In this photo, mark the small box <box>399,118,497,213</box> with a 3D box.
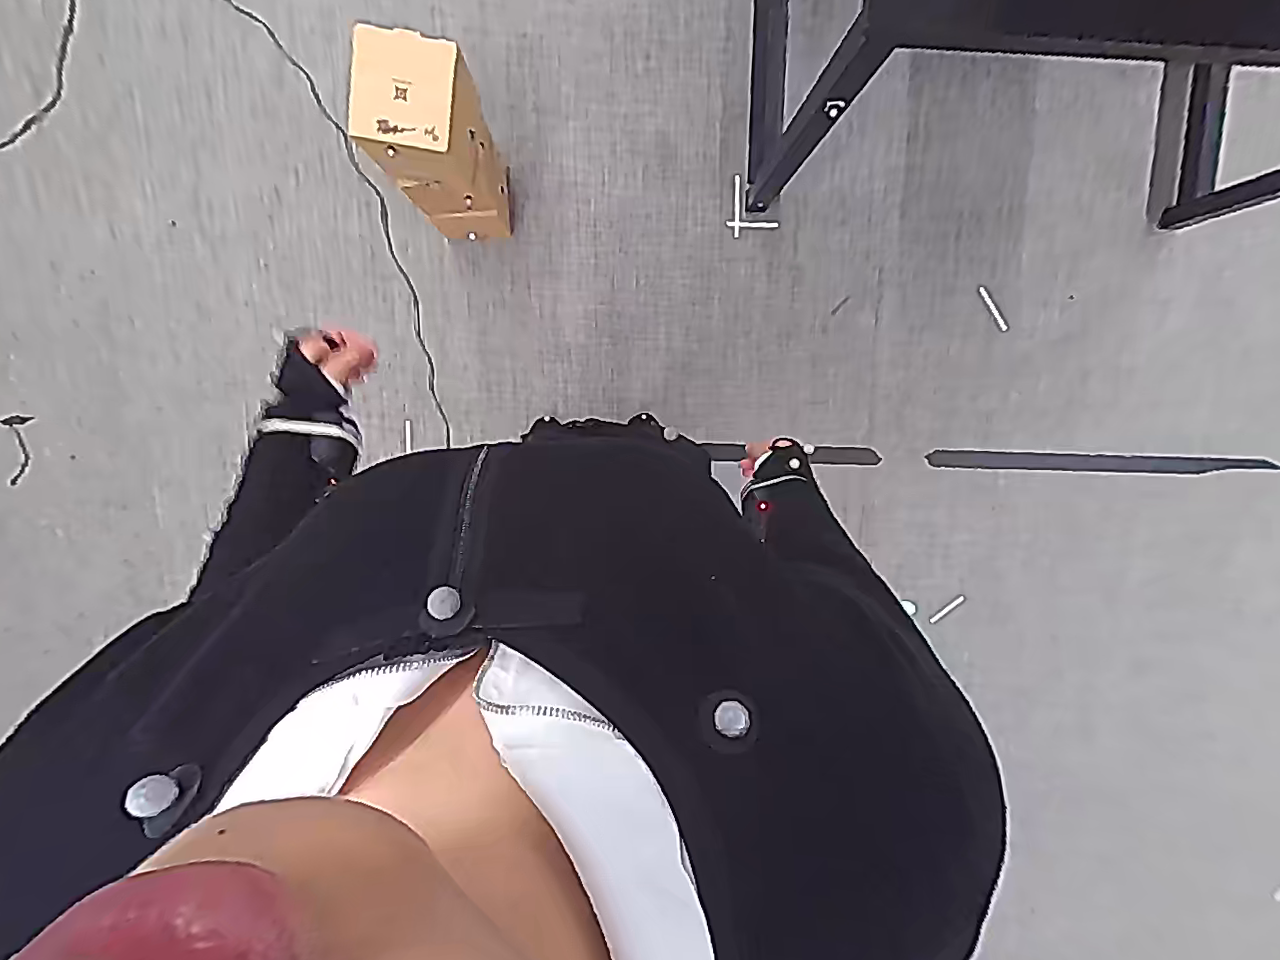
[{"bbox_3d":[-0.408,-0.681,1.142,0.168,0.176,0.179,-7,97,-3],"label":"small box"}]

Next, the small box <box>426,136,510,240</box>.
[{"bbox_3d":[-0.414,-0.697,1.303,0.168,0.176,0.179,-3,99,-2],"label":"small box"}]

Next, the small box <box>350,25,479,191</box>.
[{"bbox_3d":[-0.397,-0.659,0.979,0.168,0.176,0.179,8,96,-4],"label":"small box"}]
